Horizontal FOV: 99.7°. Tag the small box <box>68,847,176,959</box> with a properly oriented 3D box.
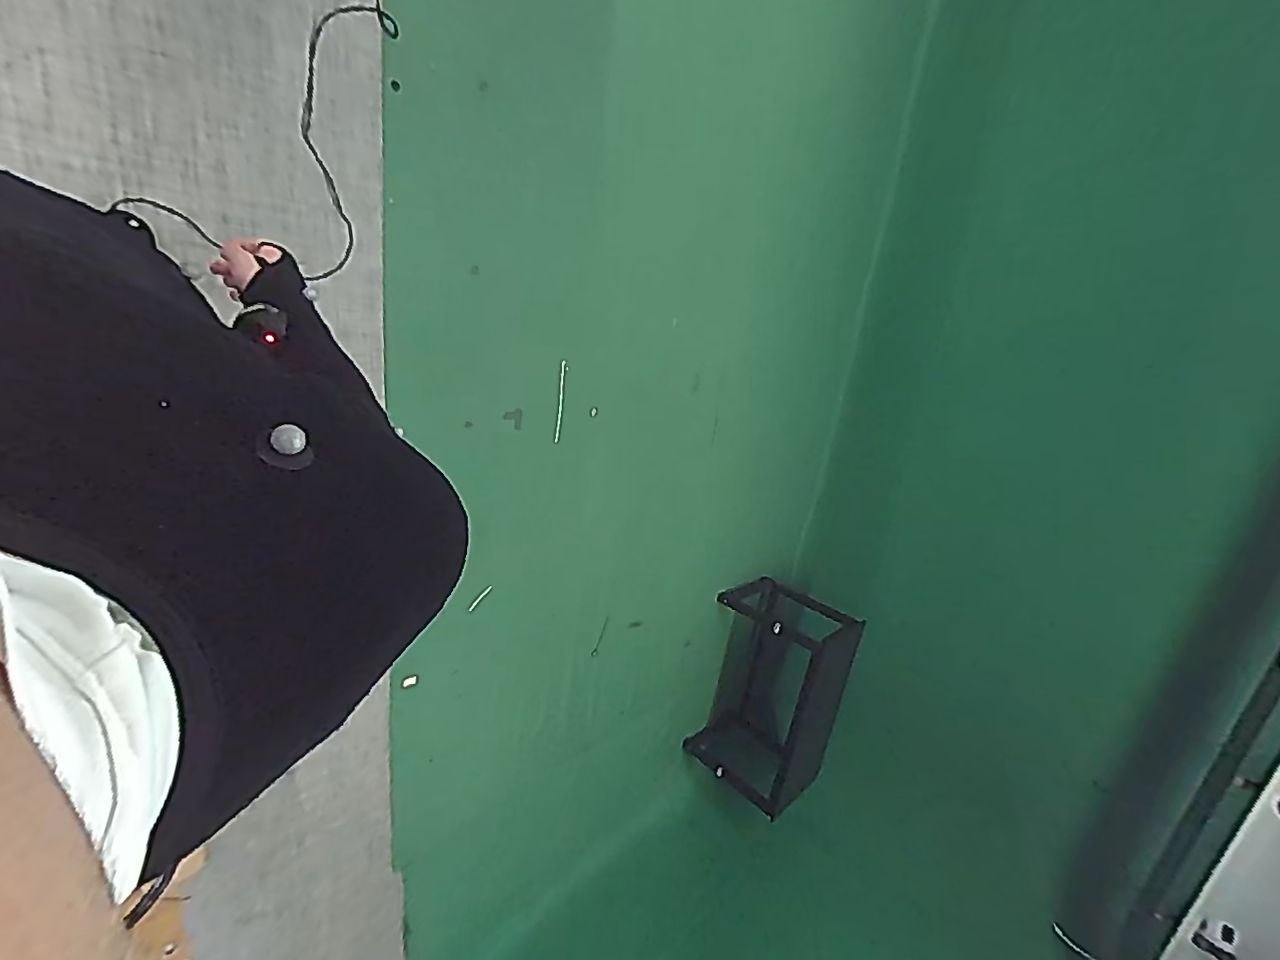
[{"bbox_3d":[-1.246,1.042,1.299,0.179,0.176,0.168,0,108,-48],"label":"small box"}]
